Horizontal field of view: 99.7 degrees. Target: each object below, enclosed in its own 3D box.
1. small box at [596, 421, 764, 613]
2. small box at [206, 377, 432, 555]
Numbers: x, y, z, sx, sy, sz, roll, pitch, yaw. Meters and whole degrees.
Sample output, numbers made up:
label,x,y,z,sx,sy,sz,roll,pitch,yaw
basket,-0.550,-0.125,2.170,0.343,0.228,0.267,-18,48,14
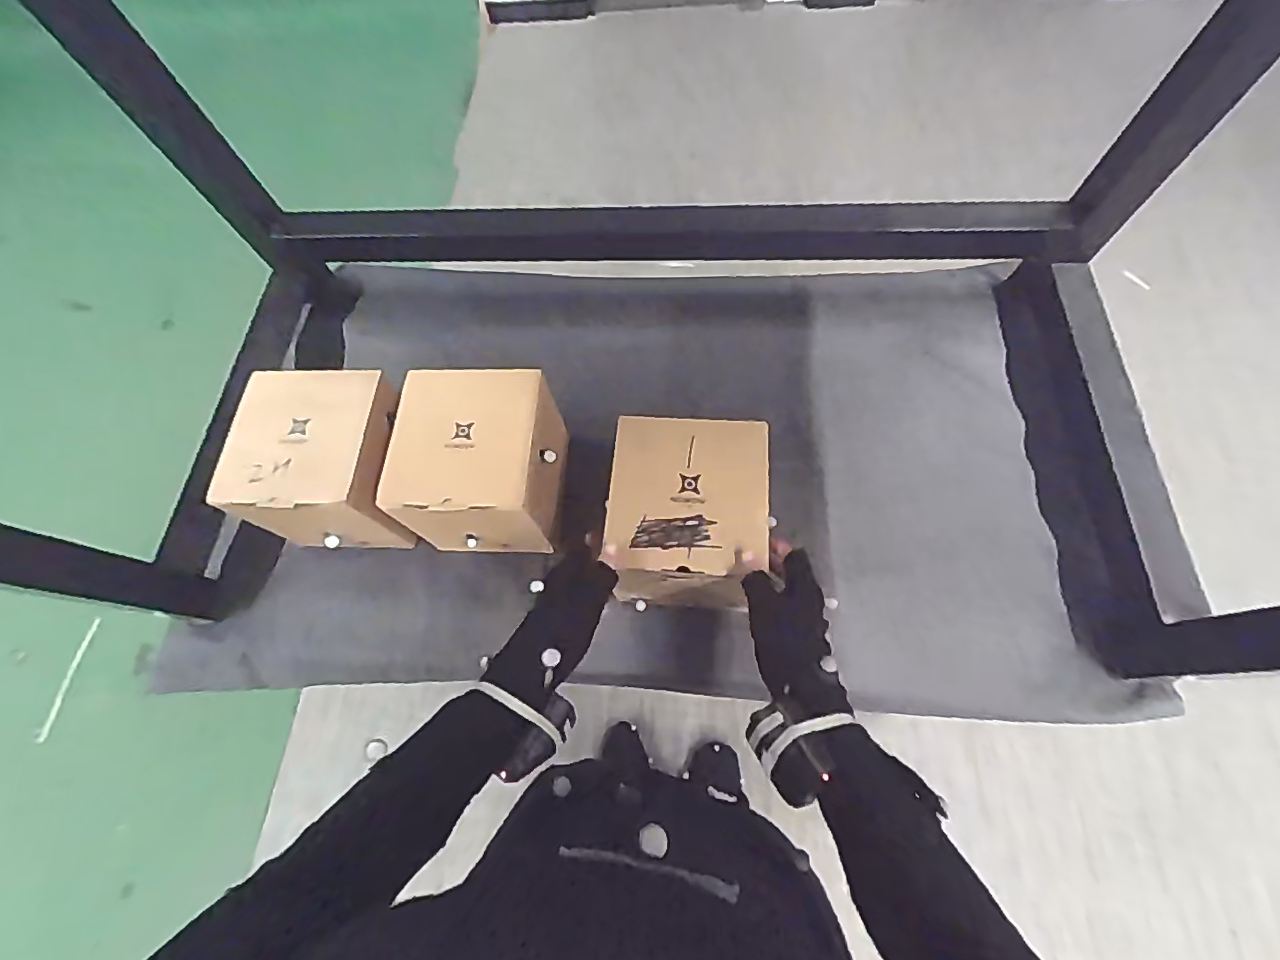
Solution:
label,x,y,z,sx,sy,sz,roll,pitch,yaw
small box,0.052,0.051,0.630,0.168,0.176,0.179,3,65,6
small box,-0.387,-0.013,0.694,0.168,0.176,0.179,0,66,5
